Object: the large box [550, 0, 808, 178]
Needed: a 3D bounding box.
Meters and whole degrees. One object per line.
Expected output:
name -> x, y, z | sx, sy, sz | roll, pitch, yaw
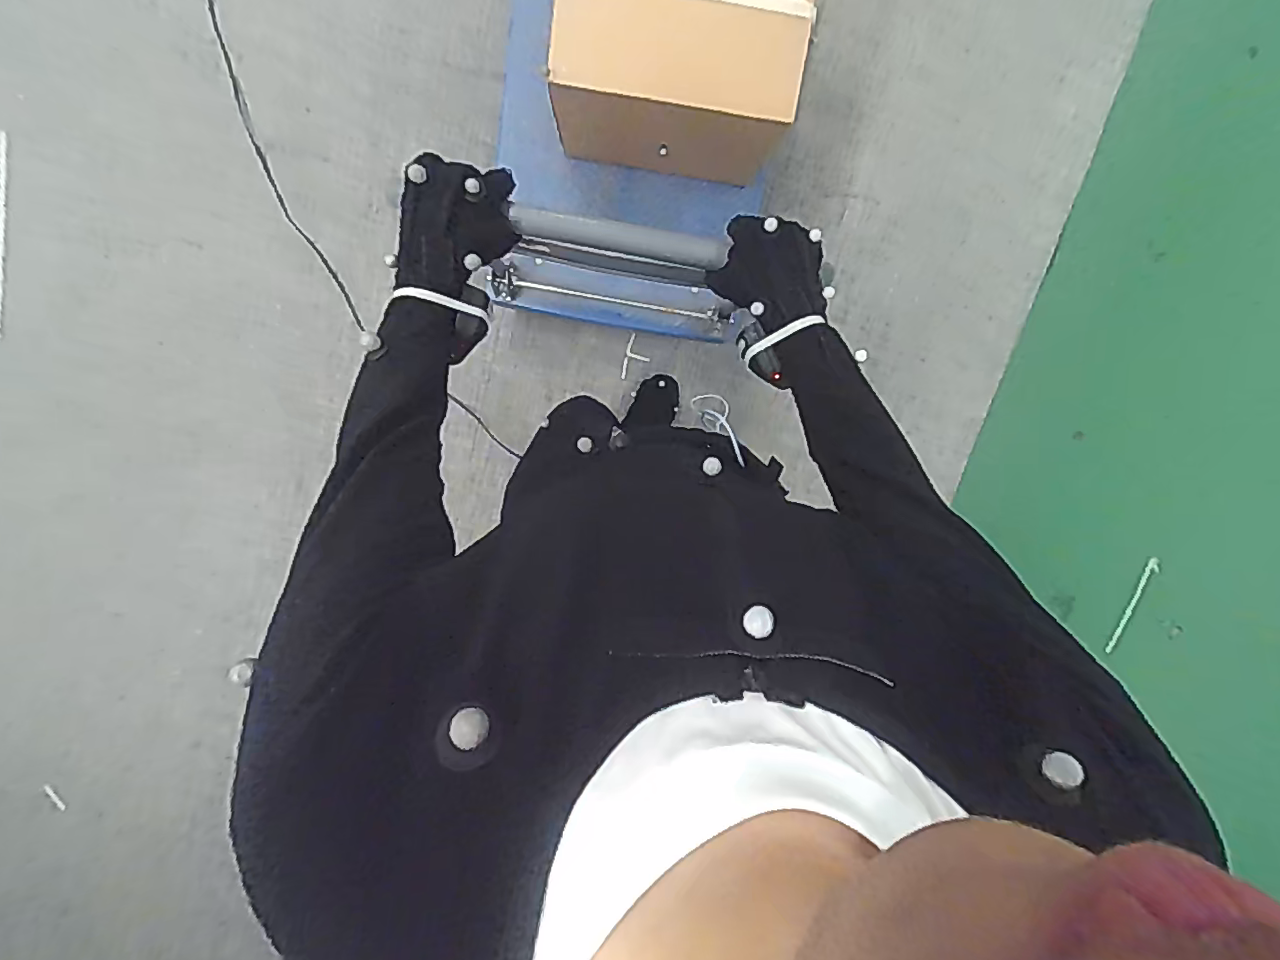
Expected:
large box -> 0.068, -0.792, 0.996 | 0.408, 0.320, 0.320 | 7, 101, -2
